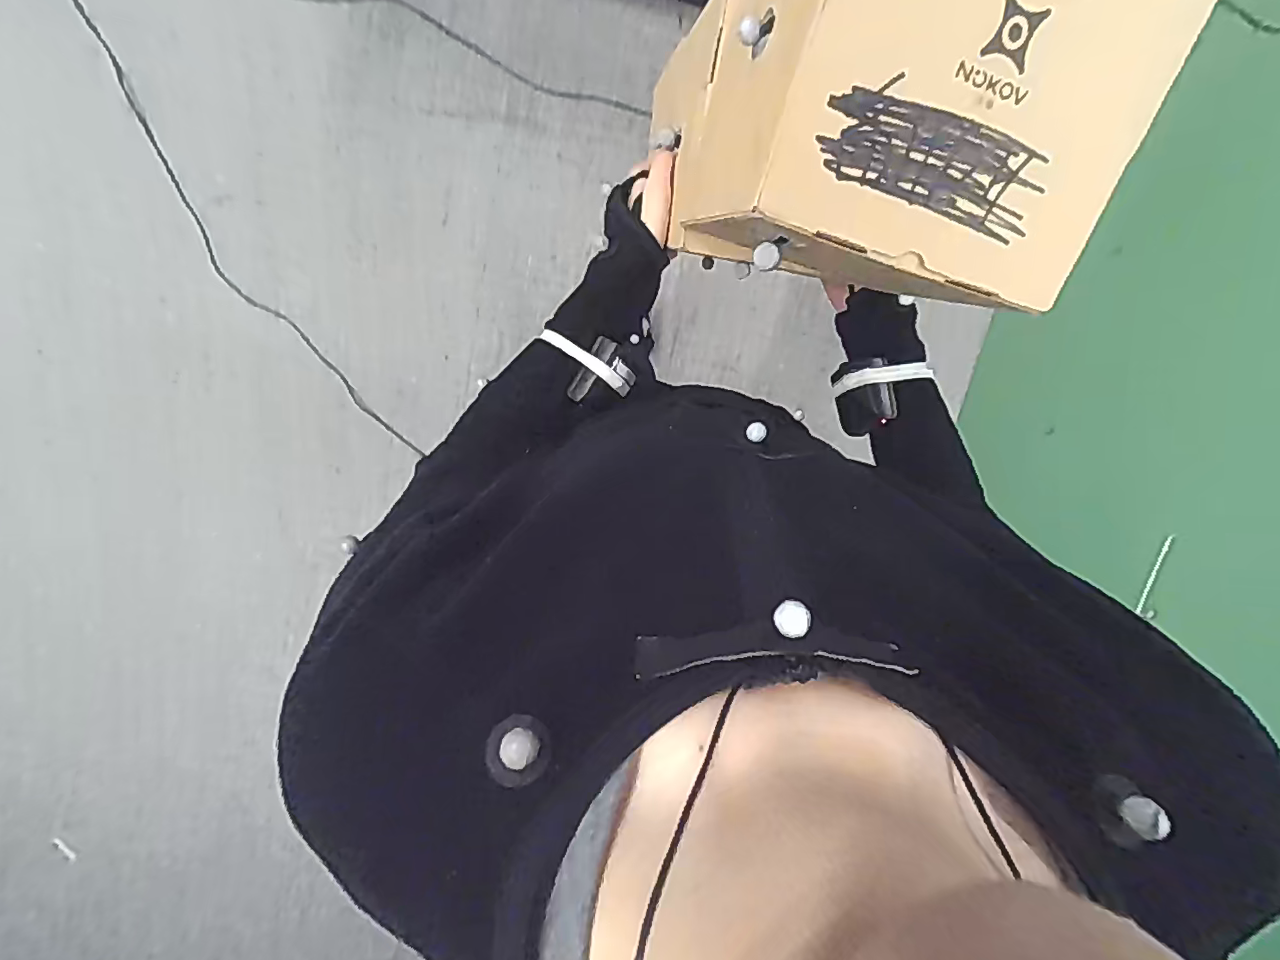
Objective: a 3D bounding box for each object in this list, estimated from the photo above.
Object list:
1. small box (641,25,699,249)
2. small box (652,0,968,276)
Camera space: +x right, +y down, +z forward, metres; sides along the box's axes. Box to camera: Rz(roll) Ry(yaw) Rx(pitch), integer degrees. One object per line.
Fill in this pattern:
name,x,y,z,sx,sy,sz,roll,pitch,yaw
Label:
small box,0.097,-0.349,0.594,0.168,0.176,0.179,4,113,-8
small box,0.112,-0.273,0.448,0.179,0.176,0.168,7,113,-10
